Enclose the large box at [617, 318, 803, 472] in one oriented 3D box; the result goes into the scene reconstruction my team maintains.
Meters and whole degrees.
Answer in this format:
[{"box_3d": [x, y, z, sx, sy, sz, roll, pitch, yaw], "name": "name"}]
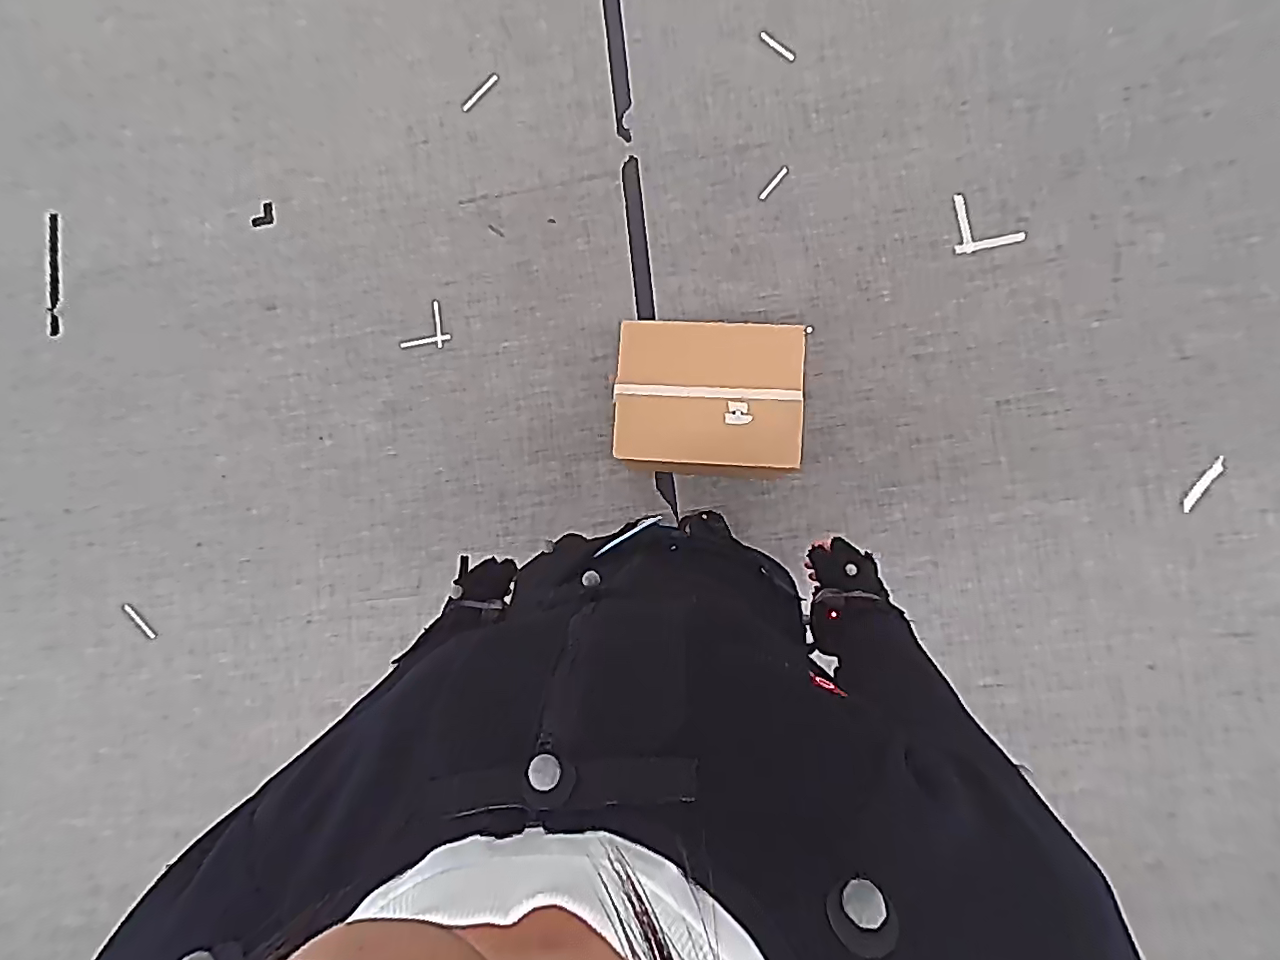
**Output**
[{"box_3d": [0.164, -0.192, 1.337, 0.408, 0.320, 0.320, 4, 87, 6], "name": "large box"}]
